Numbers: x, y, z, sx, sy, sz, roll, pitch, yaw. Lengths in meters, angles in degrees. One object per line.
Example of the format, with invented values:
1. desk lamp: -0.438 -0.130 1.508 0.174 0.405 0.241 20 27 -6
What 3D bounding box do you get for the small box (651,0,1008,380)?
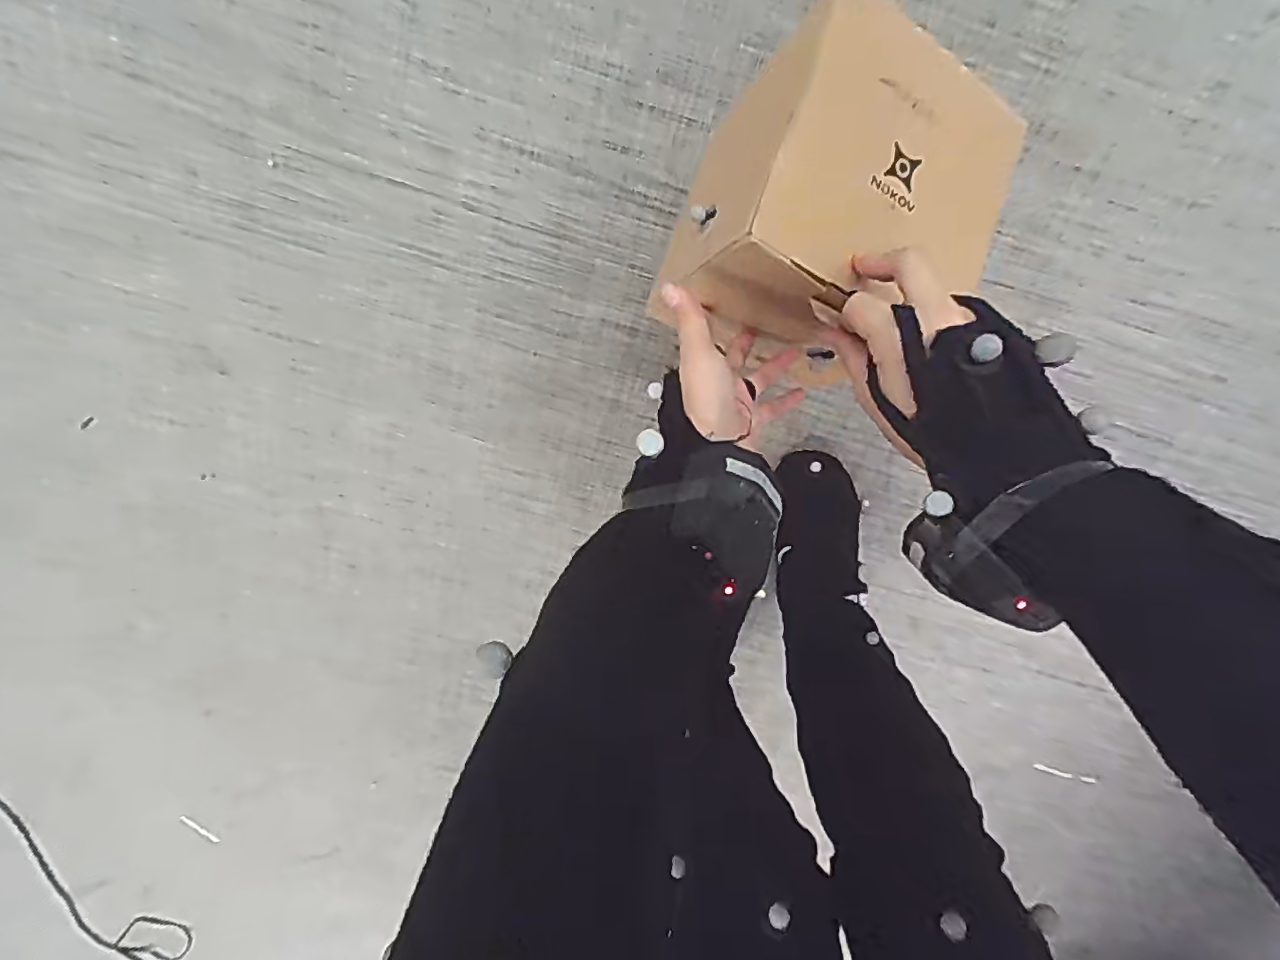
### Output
1. small box: 0.125 -0.191 0.413 0.168 0.176 0.179 22 85 -20
